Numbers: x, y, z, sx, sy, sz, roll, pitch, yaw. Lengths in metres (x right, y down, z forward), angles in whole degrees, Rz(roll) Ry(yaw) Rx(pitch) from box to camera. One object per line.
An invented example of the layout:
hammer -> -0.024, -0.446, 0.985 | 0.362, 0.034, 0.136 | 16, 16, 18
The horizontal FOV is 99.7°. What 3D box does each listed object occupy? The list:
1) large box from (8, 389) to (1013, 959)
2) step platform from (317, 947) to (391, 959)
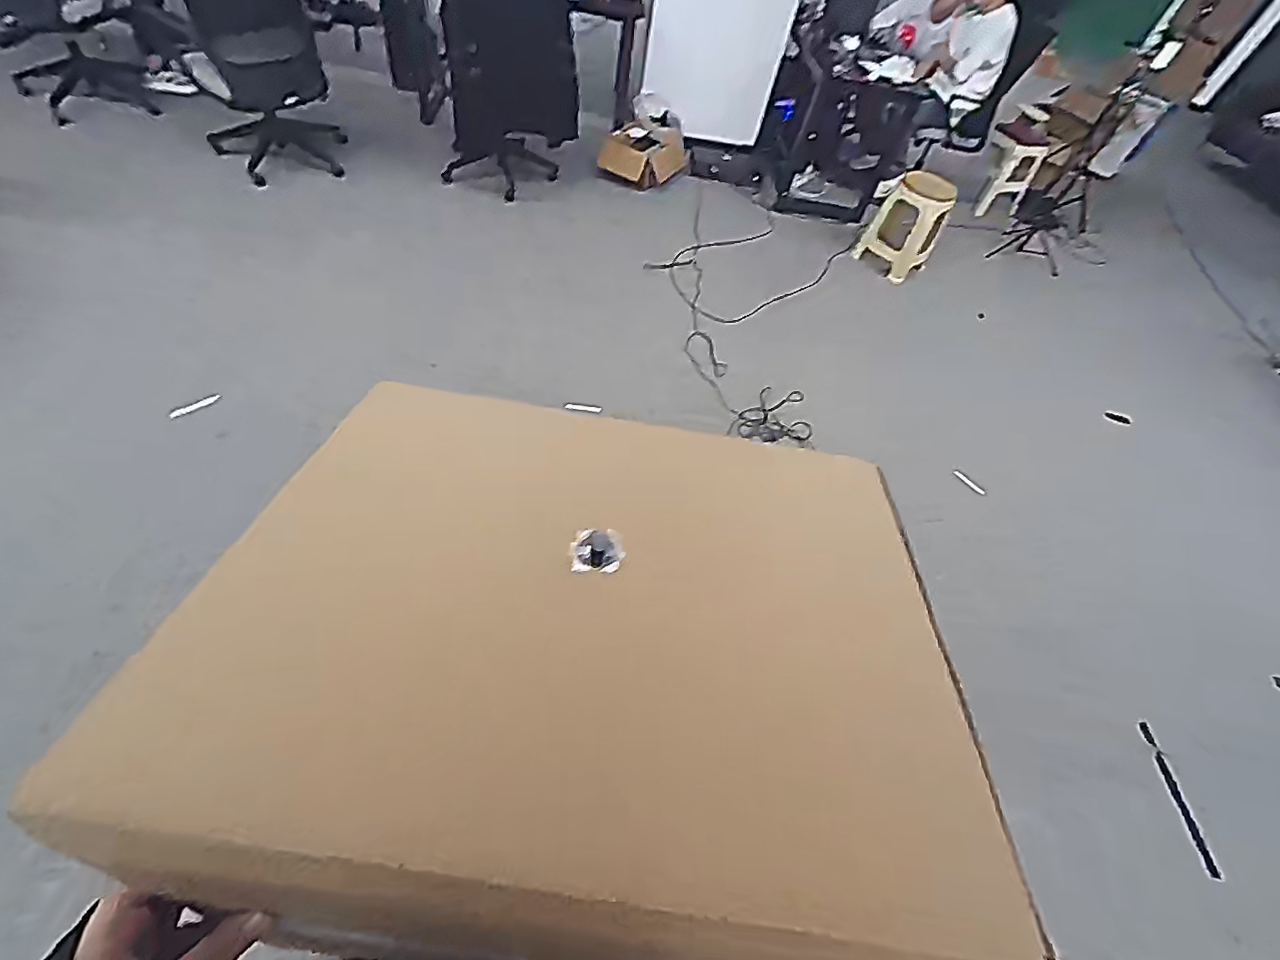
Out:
large box -> -0.054, 0.156, 0.417 | 0.408, 0.320, 0.320 | 8, 43, 0
step platform -> -0.309, 1.073, 0.980 | 0.684, 0.204, 0.286 | 9, 53, -3
